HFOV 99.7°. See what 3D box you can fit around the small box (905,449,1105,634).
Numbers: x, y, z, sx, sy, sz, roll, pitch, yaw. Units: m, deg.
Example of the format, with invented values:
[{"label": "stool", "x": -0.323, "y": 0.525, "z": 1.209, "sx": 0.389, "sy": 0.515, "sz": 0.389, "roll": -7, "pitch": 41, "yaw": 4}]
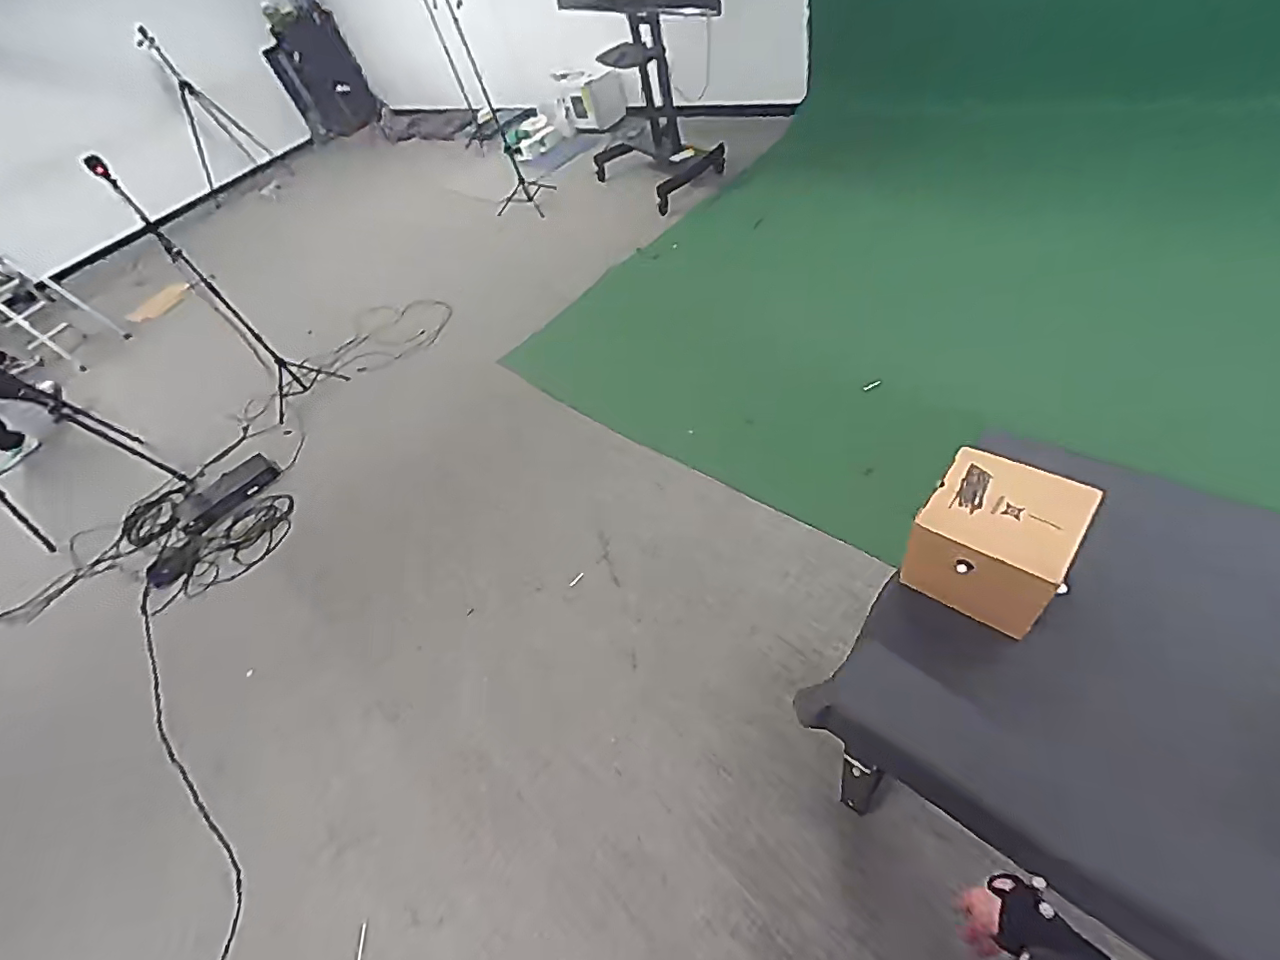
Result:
[{"label": "small box", "x": 0.509, "y": 0.092, "z": 0.781, "sx": 0.179, "sy": 0.176, "sz": 0.168, "roll": 29, "pitch": 64, "yaw": 33}]
